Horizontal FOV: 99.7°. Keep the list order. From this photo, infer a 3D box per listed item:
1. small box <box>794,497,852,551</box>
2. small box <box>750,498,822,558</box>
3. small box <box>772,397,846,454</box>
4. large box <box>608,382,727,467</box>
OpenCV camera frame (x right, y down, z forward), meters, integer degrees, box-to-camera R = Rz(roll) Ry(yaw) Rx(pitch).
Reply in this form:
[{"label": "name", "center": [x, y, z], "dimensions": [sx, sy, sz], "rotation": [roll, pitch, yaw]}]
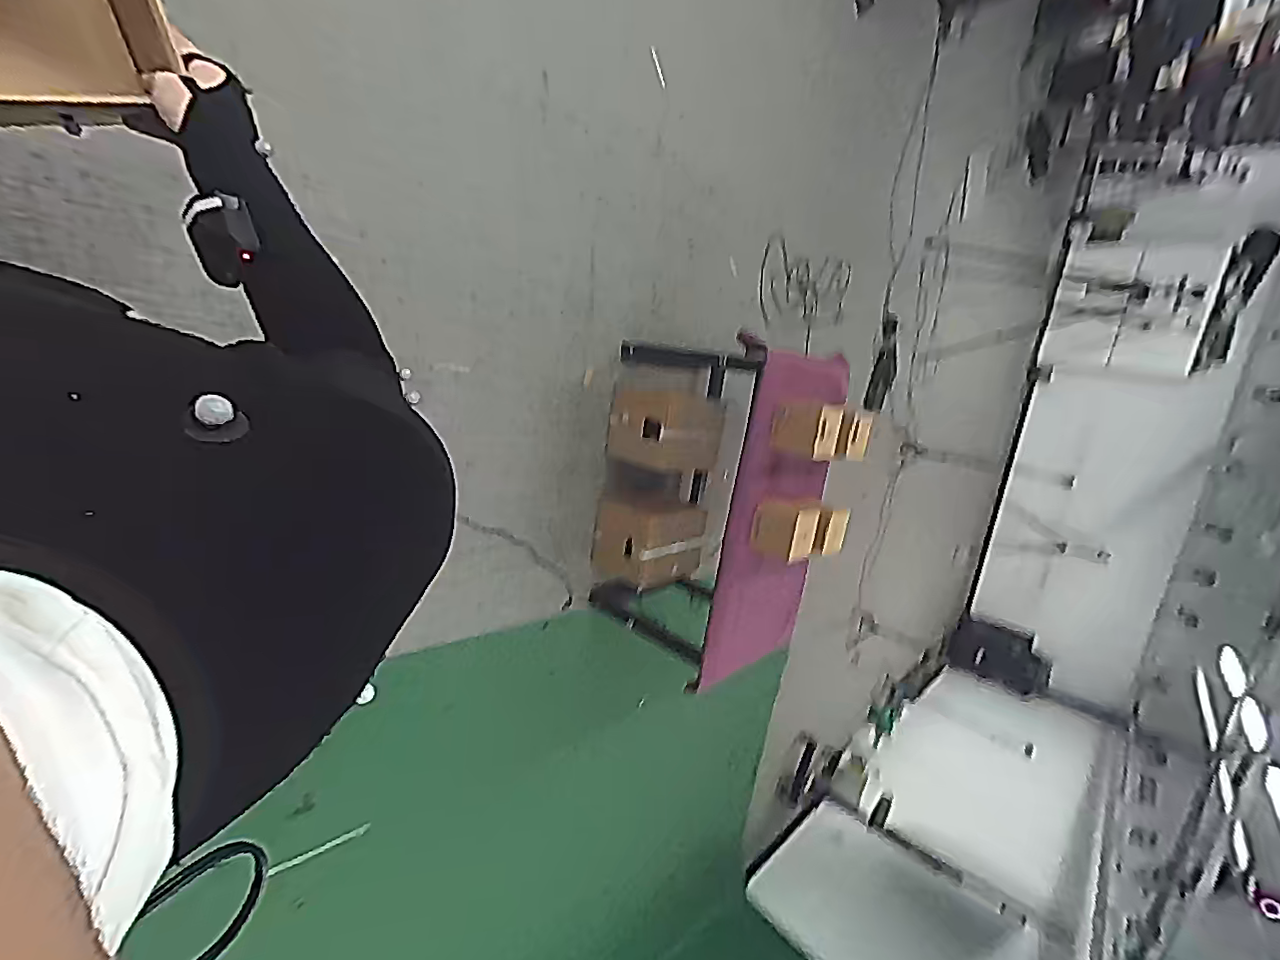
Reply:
[{"label": "small box", "center": [0.701, 0.167, 2.126], "dimensions": [0.179, 0.176, 0.168], "rotation": [0, 105, -46]}, {"label": "small box", "center": [0.517, 0.164, 1.922], "dimensions": [0.179, 0.176, 0.168], "rotation": [-1, 105, -48]}, {"label": "small box", "center": [0.575, -0.187, 1.849], "dimensions": [0.179, 0.176, 0.168], "rotation": [-6, 109, -48]}, {"label": "large box", "center": [0.117, -0.245, 2.341], "dimensions": [0.408, 0.320, 0.320], "rotation": [-4, 108, -48]}]
